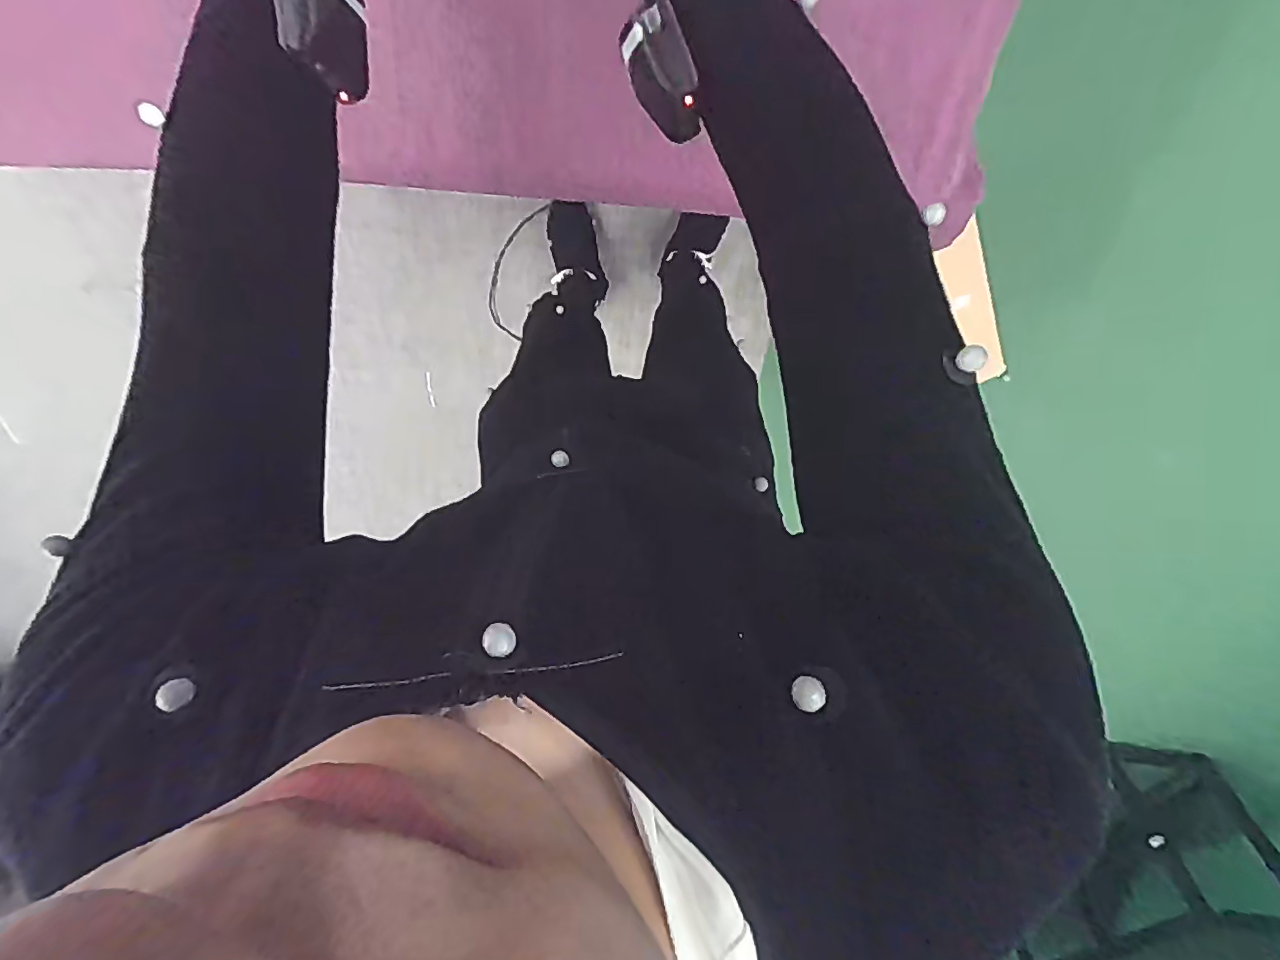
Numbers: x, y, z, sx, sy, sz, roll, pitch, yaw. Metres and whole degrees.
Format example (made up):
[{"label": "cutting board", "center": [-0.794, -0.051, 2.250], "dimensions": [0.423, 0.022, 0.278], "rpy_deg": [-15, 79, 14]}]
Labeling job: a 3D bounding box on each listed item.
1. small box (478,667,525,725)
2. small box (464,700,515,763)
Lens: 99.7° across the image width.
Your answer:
[{"label": "small box", "center": [-0.632, 0.987, 2.468], "dimensions": [0.168, 0.176, 0.179], "rpy_deg": [12, 126, -1]}, {"label": "small box", "center": [-0.650, 1.088, 2.341], "dimensions": [0.168, 0.176, 0.179], "rpy_deg": [15, 126, -4]}]
